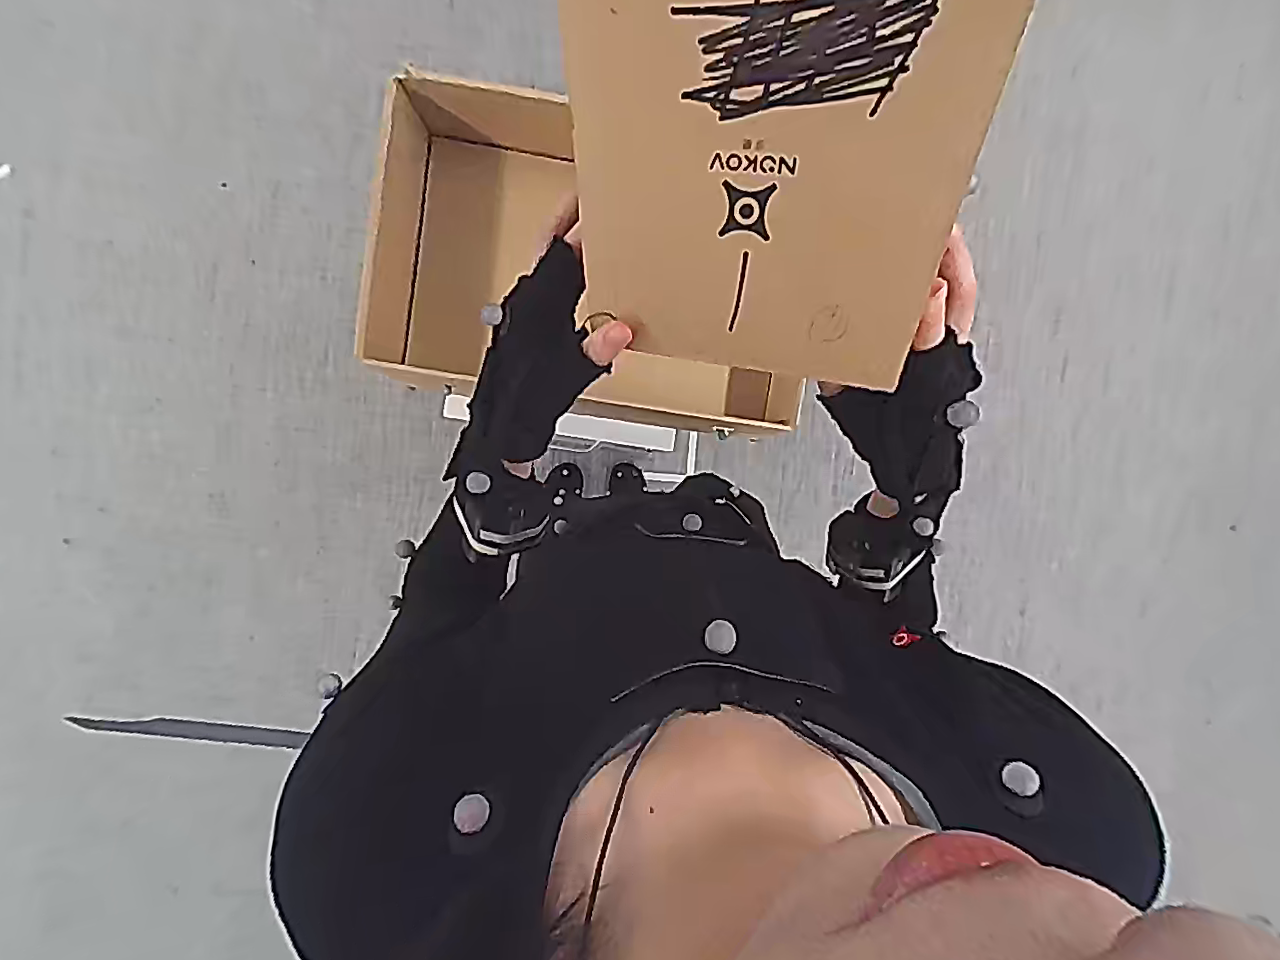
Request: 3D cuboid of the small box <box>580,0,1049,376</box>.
[{"bbox_3d":[0.079,-0.182,0.284,0.168,0.176,0.179,12,133,14],"label":"small box"}]
